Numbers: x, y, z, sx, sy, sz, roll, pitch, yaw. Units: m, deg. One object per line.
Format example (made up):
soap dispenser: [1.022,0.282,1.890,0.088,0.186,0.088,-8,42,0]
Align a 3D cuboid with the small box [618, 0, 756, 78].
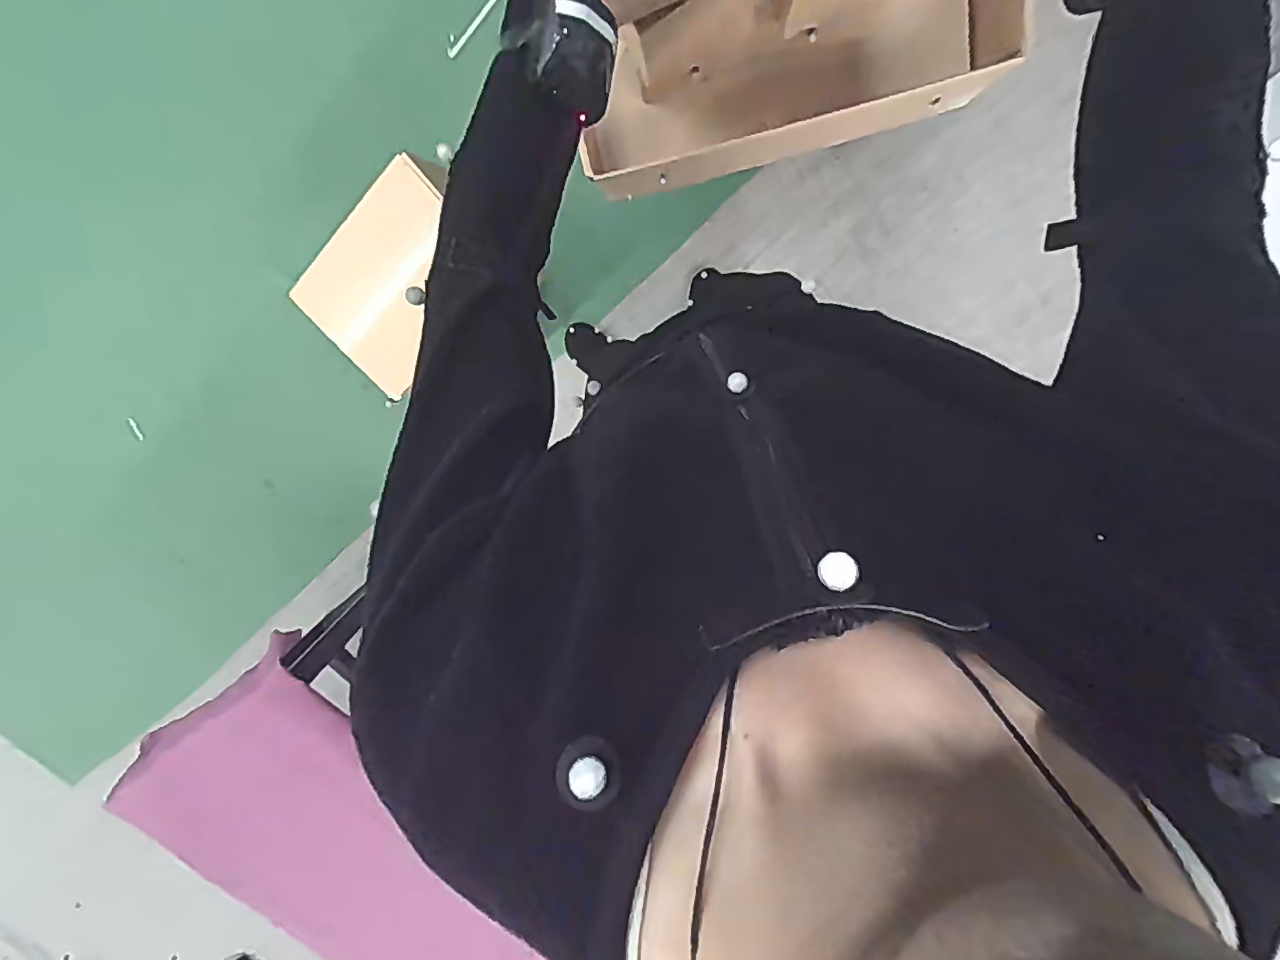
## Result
small box: [0.040,-0.612,0.612,0.179,0.176,0.168,-27,105,14]
